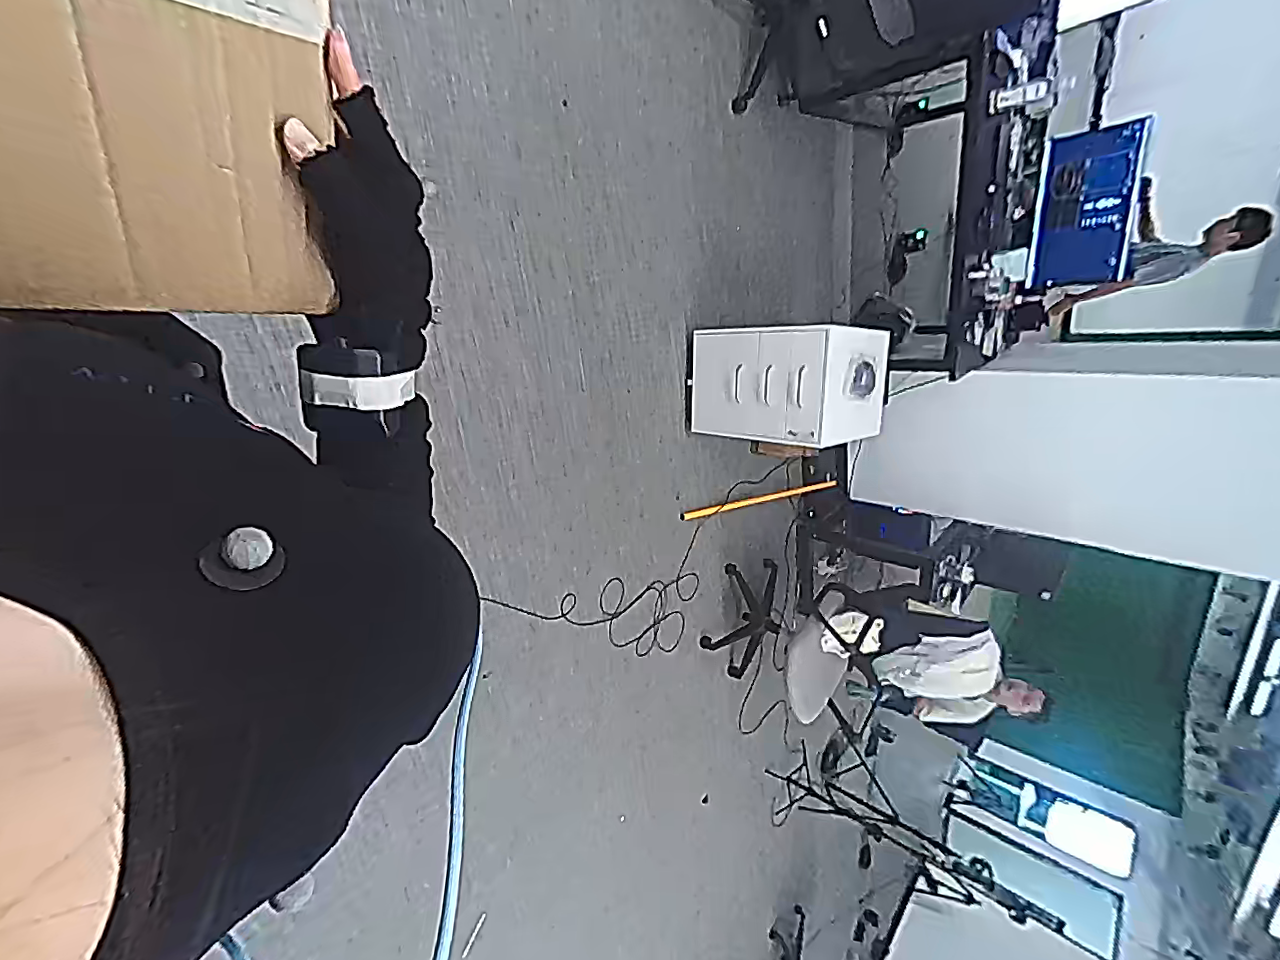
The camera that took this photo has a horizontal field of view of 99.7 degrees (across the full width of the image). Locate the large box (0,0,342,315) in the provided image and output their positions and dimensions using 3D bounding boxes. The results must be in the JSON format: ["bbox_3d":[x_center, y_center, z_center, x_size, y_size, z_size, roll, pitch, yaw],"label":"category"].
[{"bbox_3d":[-0.411,-0.283,0.254,0.408,0.320,0.320,-13,133,-40],"label":"large box"}]
